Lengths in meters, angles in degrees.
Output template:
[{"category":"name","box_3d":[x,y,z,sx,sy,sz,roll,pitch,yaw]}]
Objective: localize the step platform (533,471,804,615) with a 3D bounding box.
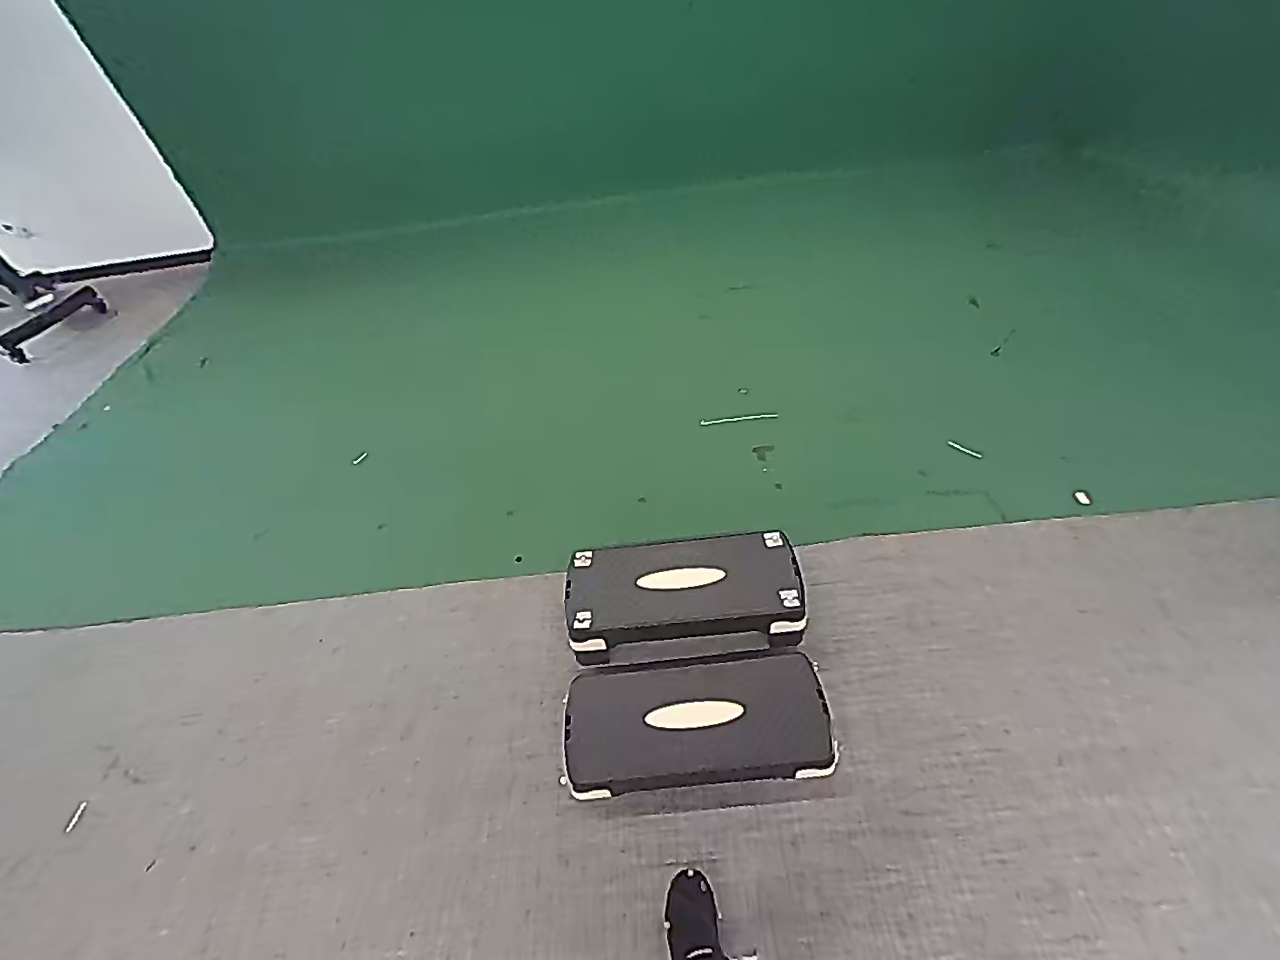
[{"category":"step platform","box_3d":[0.072,0.170,1.449,0.684,0.204,0.286,-7,48,3]}]
